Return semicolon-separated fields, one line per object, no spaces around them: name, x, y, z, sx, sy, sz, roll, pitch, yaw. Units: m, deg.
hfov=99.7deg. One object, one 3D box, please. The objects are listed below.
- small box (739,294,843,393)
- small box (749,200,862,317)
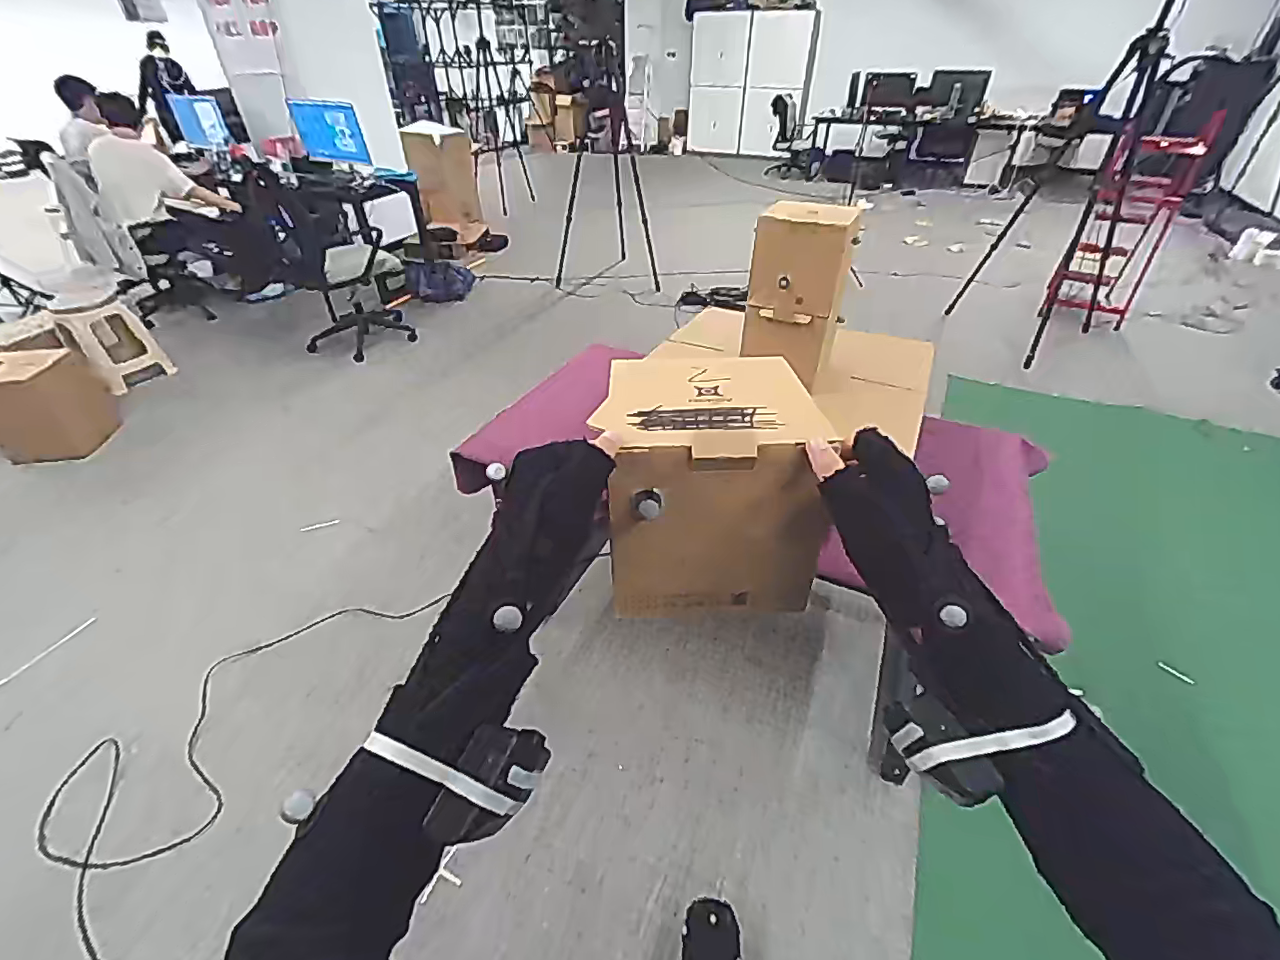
small box;0.322;-0.310;1.171;0.168;0.176;0.179;17;40;21
small box;0.324;-0.441;1.073;0.168;0.176;0.179;17;40;19
